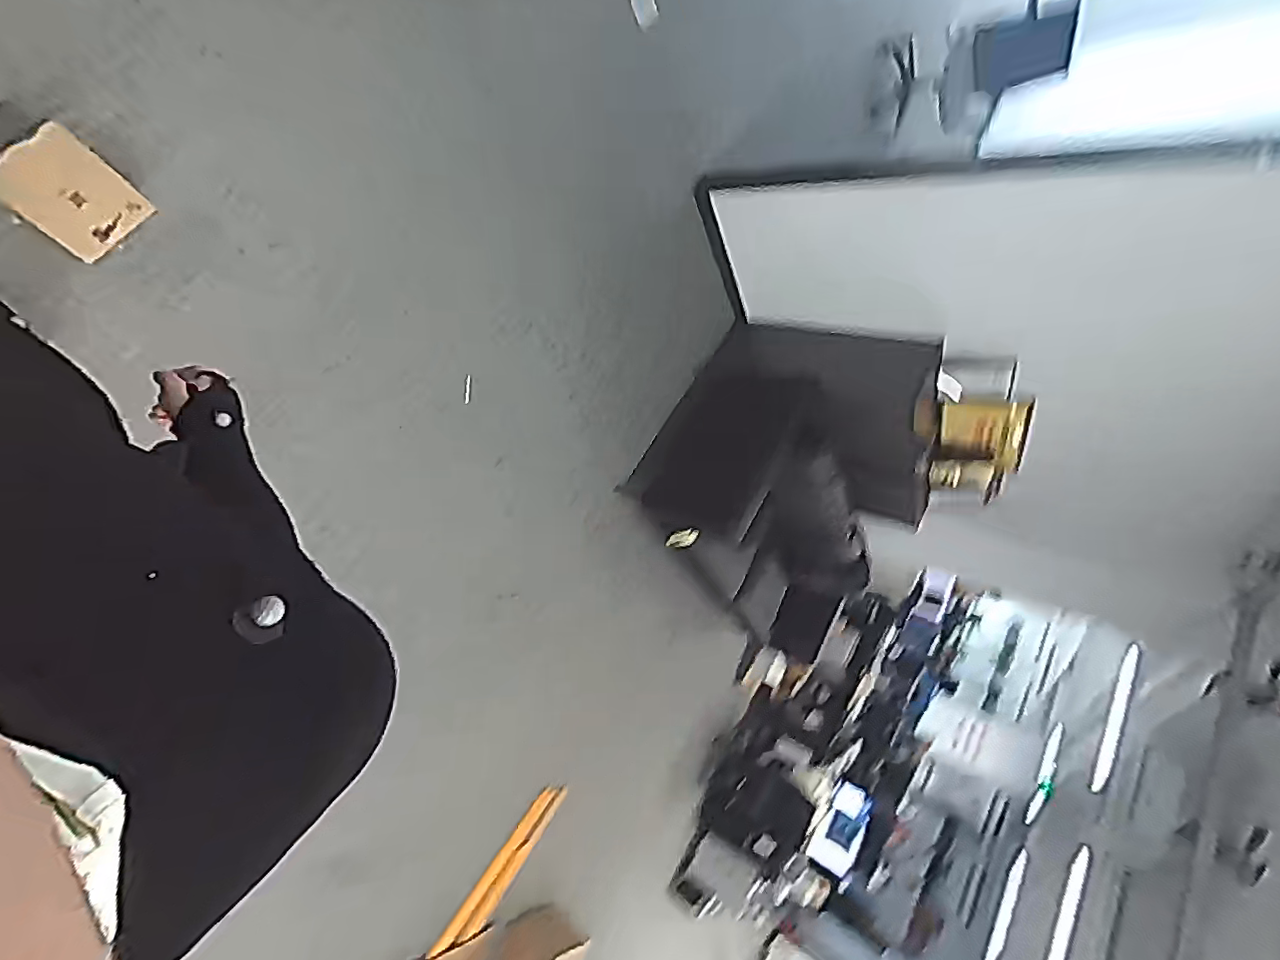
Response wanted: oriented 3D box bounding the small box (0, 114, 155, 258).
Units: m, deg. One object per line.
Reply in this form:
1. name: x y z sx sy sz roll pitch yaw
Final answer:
1. small box: -1.079 -0.538 1.010 0.168 0.176 0.179 -57 142 -18
